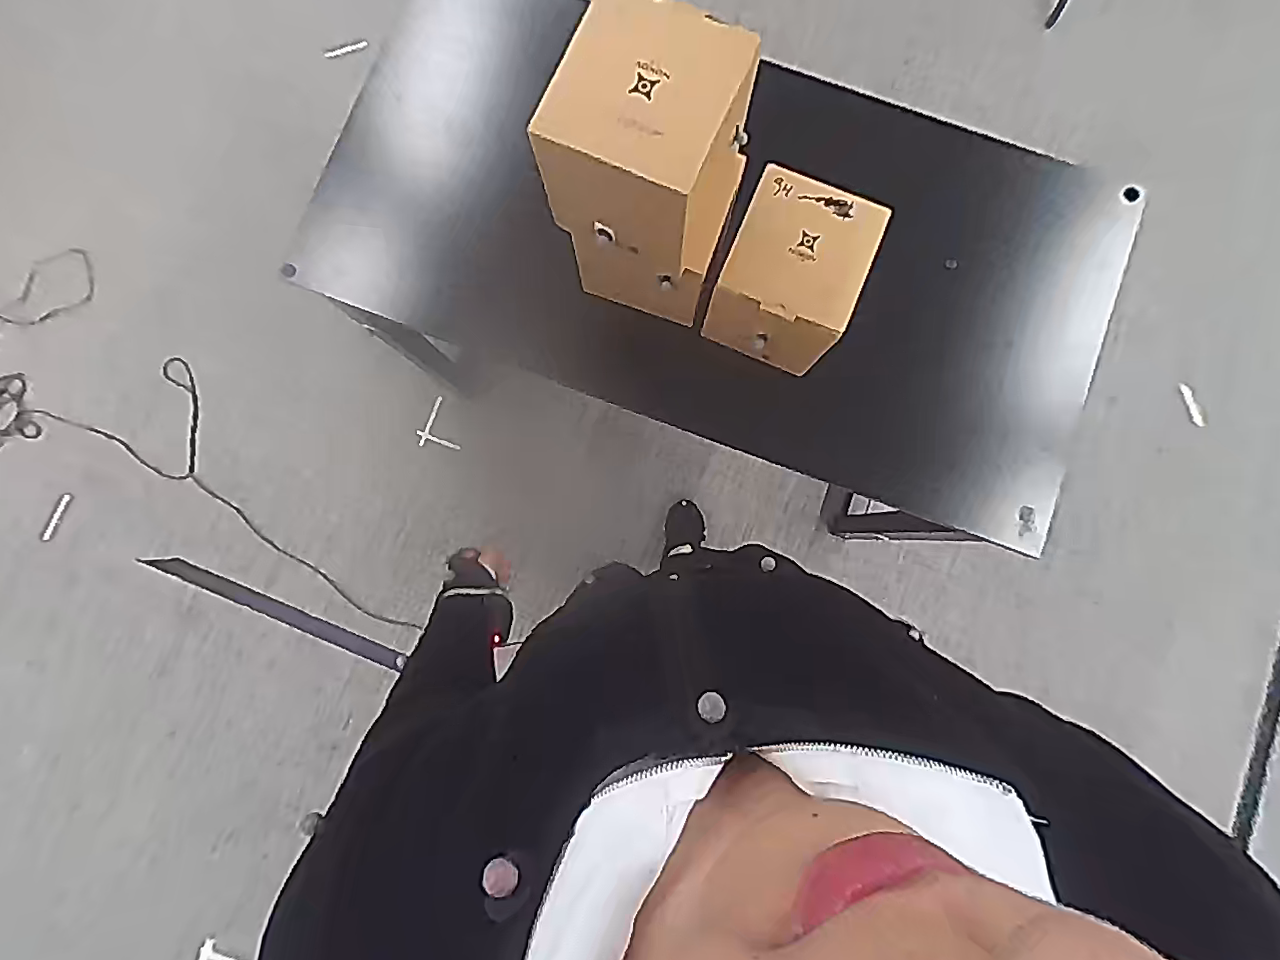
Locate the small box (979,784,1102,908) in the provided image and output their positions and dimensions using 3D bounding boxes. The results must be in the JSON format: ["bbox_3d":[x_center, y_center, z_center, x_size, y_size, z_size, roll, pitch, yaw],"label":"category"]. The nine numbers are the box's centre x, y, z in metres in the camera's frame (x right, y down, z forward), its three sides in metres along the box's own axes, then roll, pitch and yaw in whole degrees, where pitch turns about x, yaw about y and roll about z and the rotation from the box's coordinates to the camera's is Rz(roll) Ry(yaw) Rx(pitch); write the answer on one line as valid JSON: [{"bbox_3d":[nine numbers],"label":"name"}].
[{"bbox_3d":[0.984,0.896,1.343,0.168,0.176,0.179,18,85,2],"label":"small box"}]

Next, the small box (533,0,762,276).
[{"bbox_3d":[0.009,-0.359,0.582,0.168,0.176,0.179,23,86,4],"label":"small box"}]
